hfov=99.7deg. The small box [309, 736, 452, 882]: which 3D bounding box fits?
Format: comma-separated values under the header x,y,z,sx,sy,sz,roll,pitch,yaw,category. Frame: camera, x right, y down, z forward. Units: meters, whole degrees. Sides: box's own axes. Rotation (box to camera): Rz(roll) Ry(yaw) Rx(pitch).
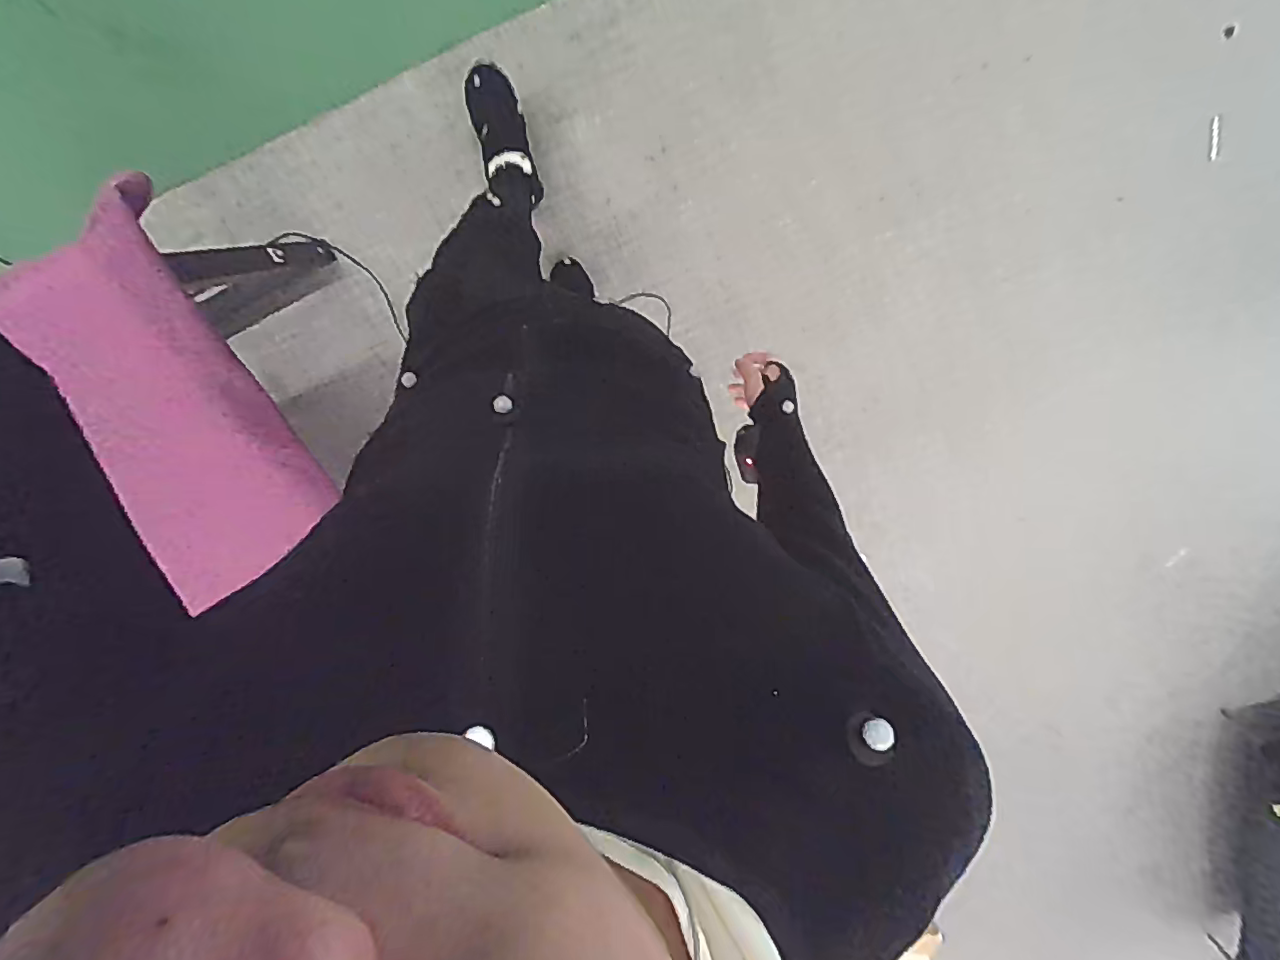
x,y,z,sx,sy,sz,roll,pitch,yaw,category
-0.514,0.664,1.101,0.179,0.176,0.168,-26,115,8,small box
